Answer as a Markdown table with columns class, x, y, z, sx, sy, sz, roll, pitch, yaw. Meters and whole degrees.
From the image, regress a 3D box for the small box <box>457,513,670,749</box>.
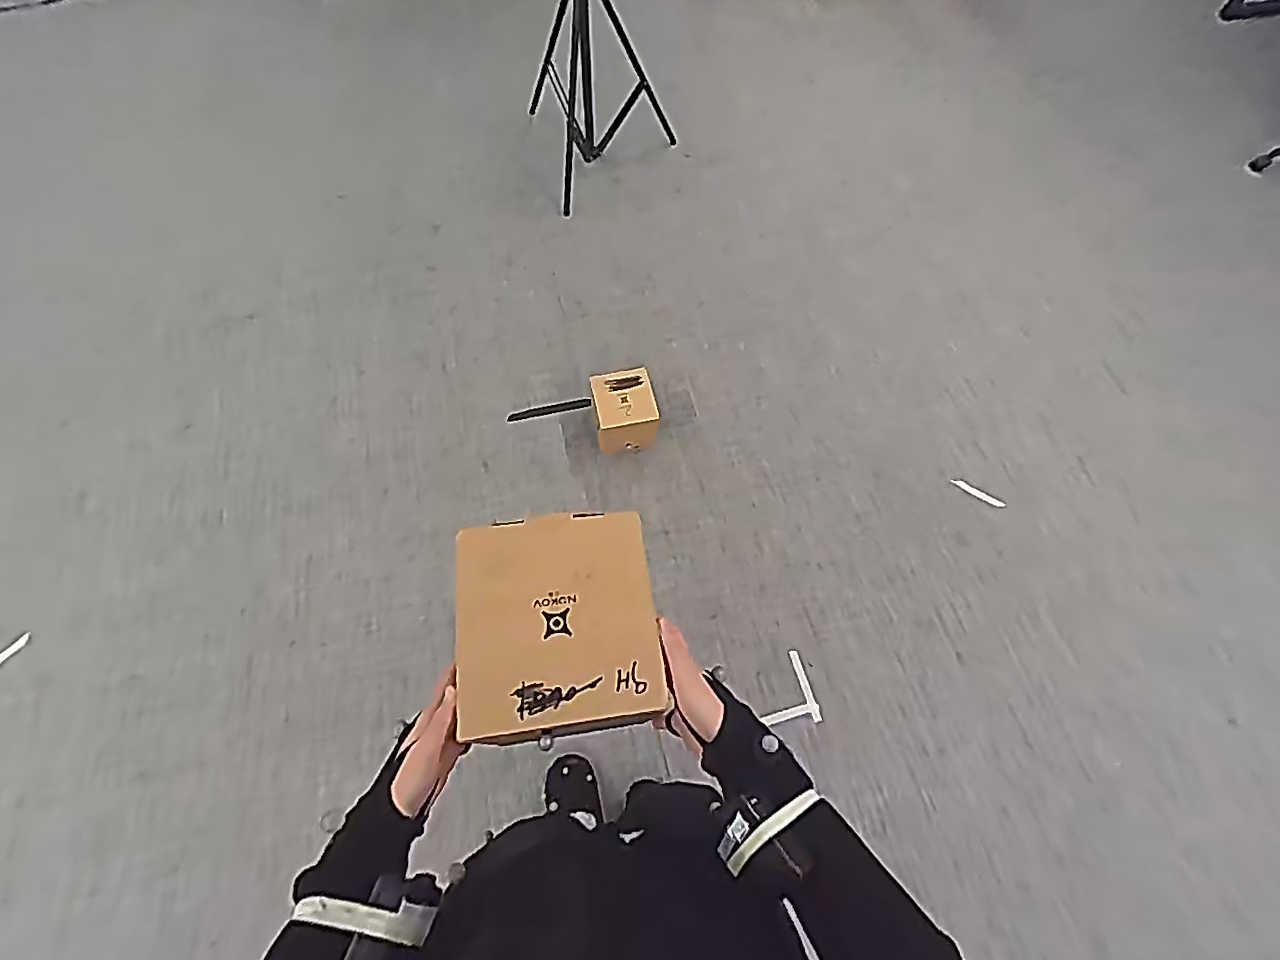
| class | x | y | z | sx | sy | sz | roll | pitch | yaw |
| --- | --- | --- | --- | --- | --- | --- | --- | --- | --- |
| small box | -0.074 | 0.151 | 0.522 | 0.168 | 0.176 | 0.179 | -6 | 63 | -7 |
